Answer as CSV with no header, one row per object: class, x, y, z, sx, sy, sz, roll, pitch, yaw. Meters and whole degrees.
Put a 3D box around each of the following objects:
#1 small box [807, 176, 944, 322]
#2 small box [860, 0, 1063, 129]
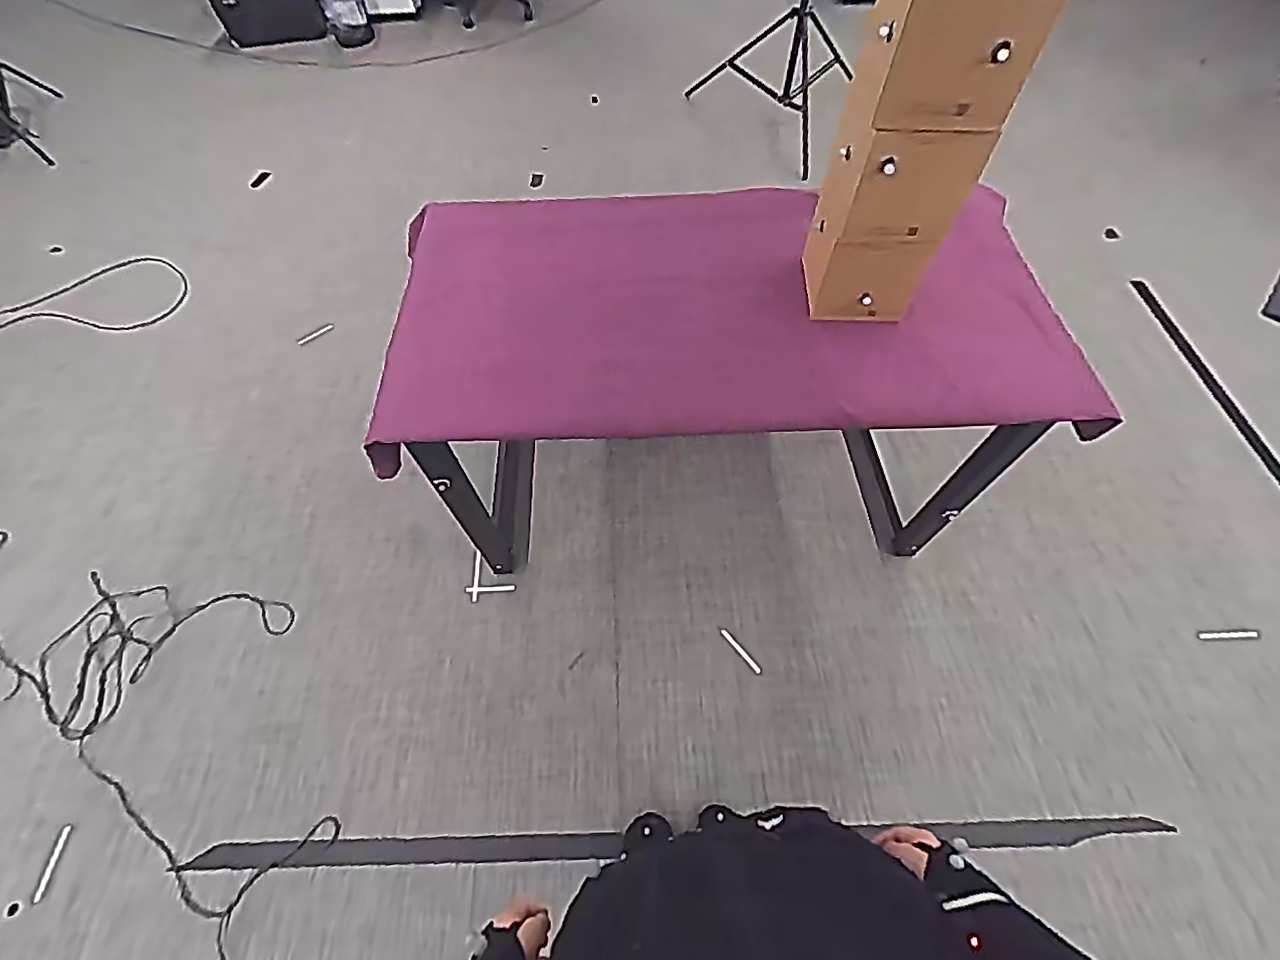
small box,0.401,-0.405,0.955,0.168,0.176,0.179,2,60,4
small box,0.389,-0.564,0.670,0.168,0.176,0.179,4,59,3
